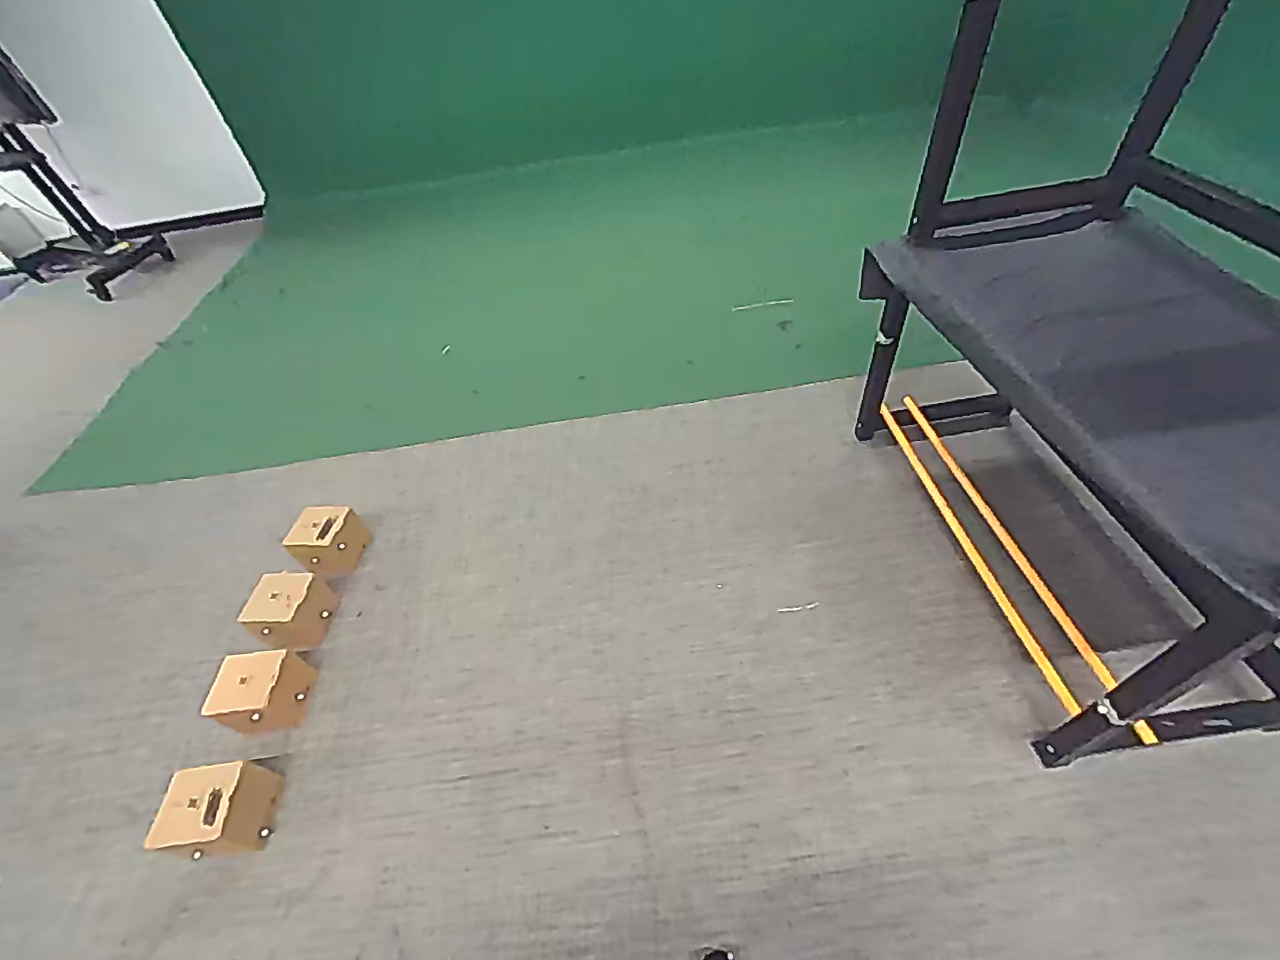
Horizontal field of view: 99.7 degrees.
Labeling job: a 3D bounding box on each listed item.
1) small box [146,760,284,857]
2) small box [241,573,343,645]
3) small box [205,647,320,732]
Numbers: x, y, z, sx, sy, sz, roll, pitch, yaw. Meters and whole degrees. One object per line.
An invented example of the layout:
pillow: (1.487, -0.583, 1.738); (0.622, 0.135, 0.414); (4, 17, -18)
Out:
small box: (-1.018, 0.802, 1.318); (0.179, 0.176, 0.168); (-9, 47, 1)
small box: (-1.077, 0.406, 1.691); (0.179, 0.176, 0.168); (-1, 48, 6)
small box: (-1.047, 0.592, 1.518); (0.179, 0.176, 0.168); (-7, 47, 1)
